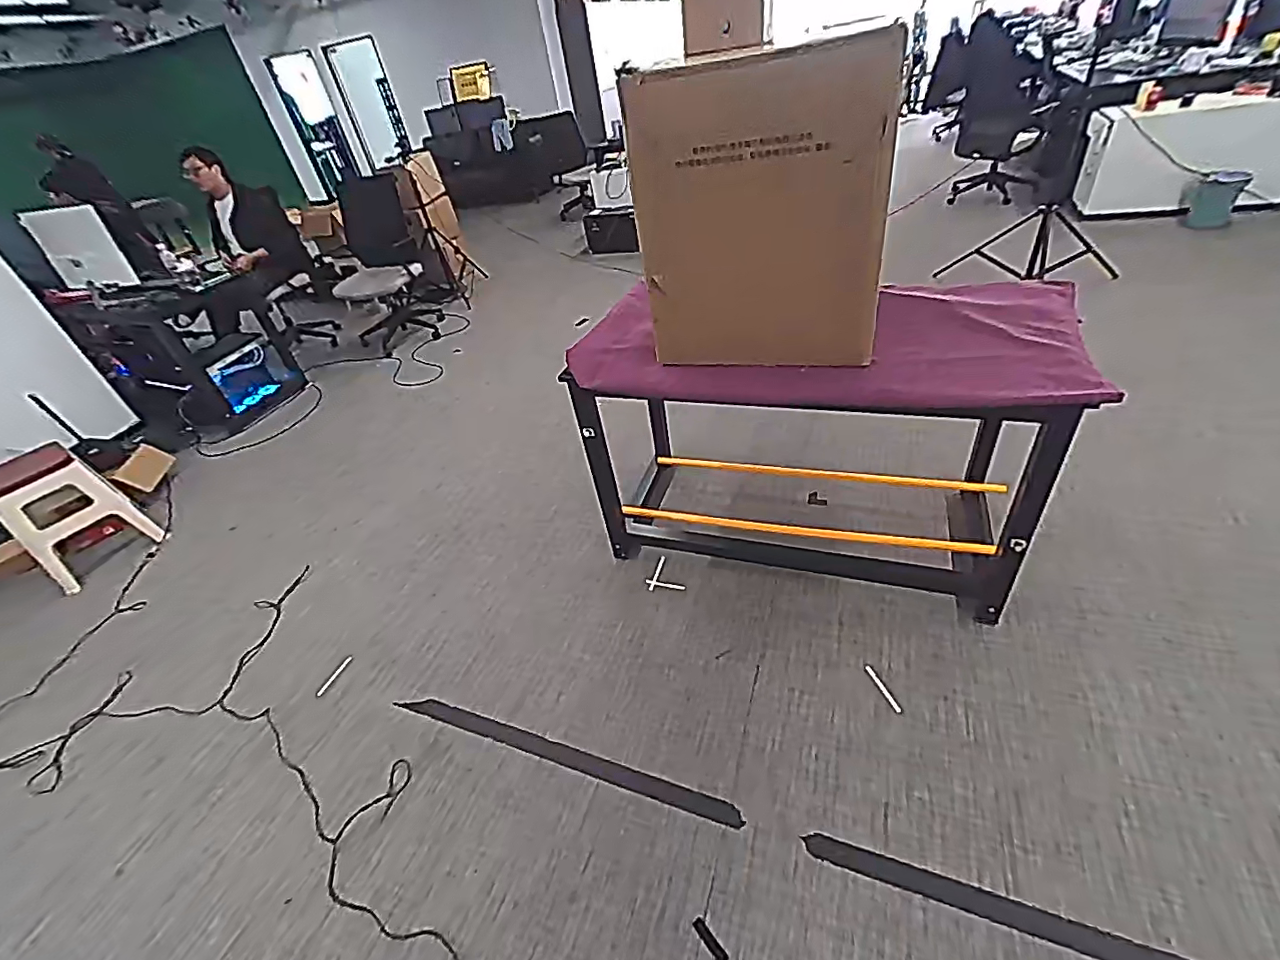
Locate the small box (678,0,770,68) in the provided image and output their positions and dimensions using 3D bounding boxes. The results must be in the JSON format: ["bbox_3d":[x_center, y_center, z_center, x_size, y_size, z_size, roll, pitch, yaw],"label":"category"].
[{"bbox_3d":[0.183,-1.012,1.165,0.179,0.176,0.168,6,41,20],"label":"small box"}]
